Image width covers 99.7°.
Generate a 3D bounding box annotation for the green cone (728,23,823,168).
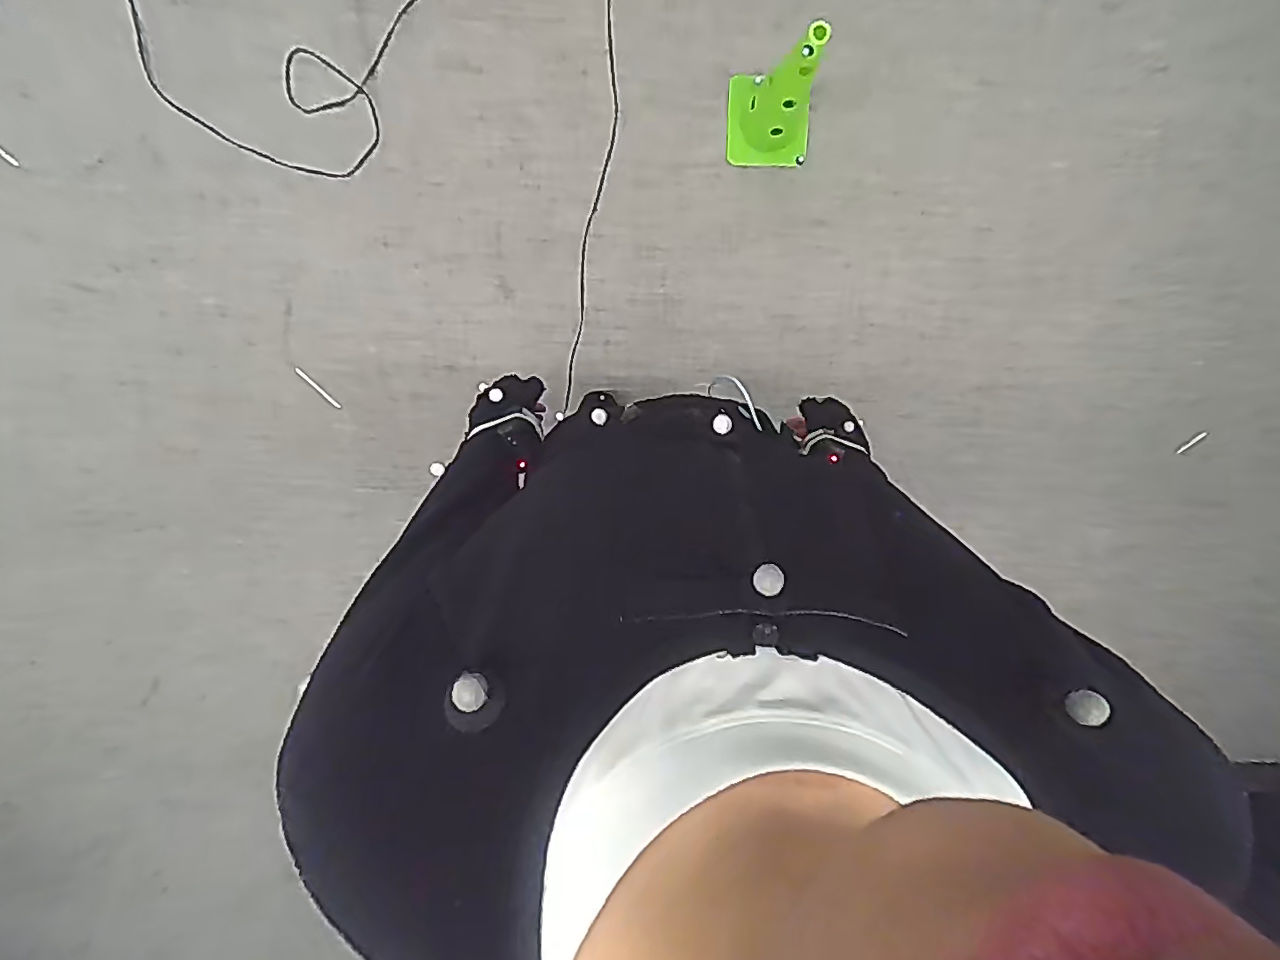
[{"bbox_3d":[0.320,-0.849,1.163,0.202,0.368,0.200,0,100,0],"label":"green cone"}]
